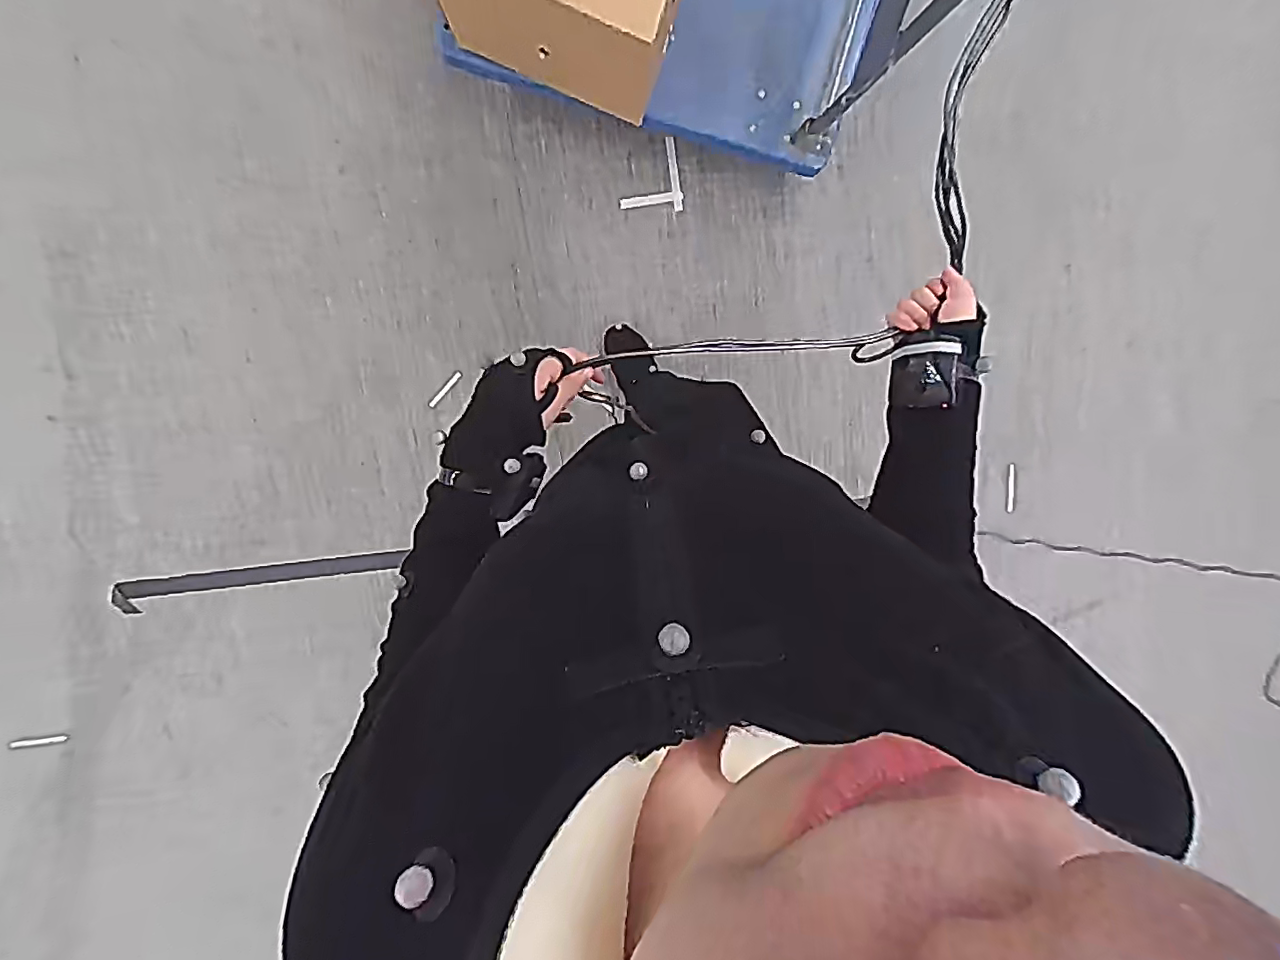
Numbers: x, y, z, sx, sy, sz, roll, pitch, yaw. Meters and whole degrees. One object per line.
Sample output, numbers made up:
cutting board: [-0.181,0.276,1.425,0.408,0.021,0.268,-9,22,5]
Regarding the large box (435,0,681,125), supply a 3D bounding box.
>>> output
large box: [-0.126,-0.922,0.964,0.408,0.320,0.320,19,99,-7]
